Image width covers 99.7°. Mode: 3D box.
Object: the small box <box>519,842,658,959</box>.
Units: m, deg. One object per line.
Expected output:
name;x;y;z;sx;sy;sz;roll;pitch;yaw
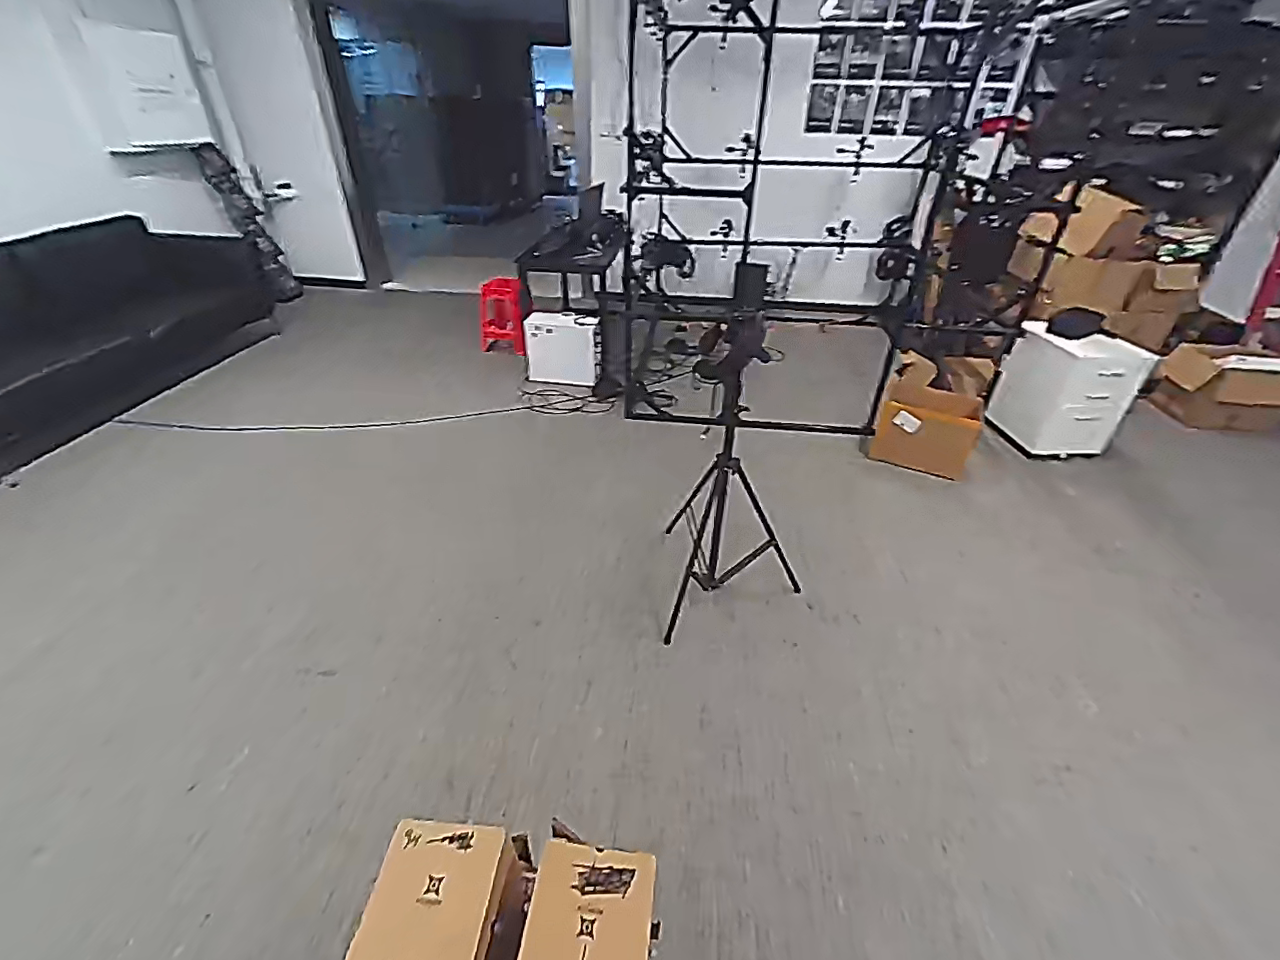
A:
small box;-0.070;0.651;0.760;0.168;0.176;0.179;6;37;5
